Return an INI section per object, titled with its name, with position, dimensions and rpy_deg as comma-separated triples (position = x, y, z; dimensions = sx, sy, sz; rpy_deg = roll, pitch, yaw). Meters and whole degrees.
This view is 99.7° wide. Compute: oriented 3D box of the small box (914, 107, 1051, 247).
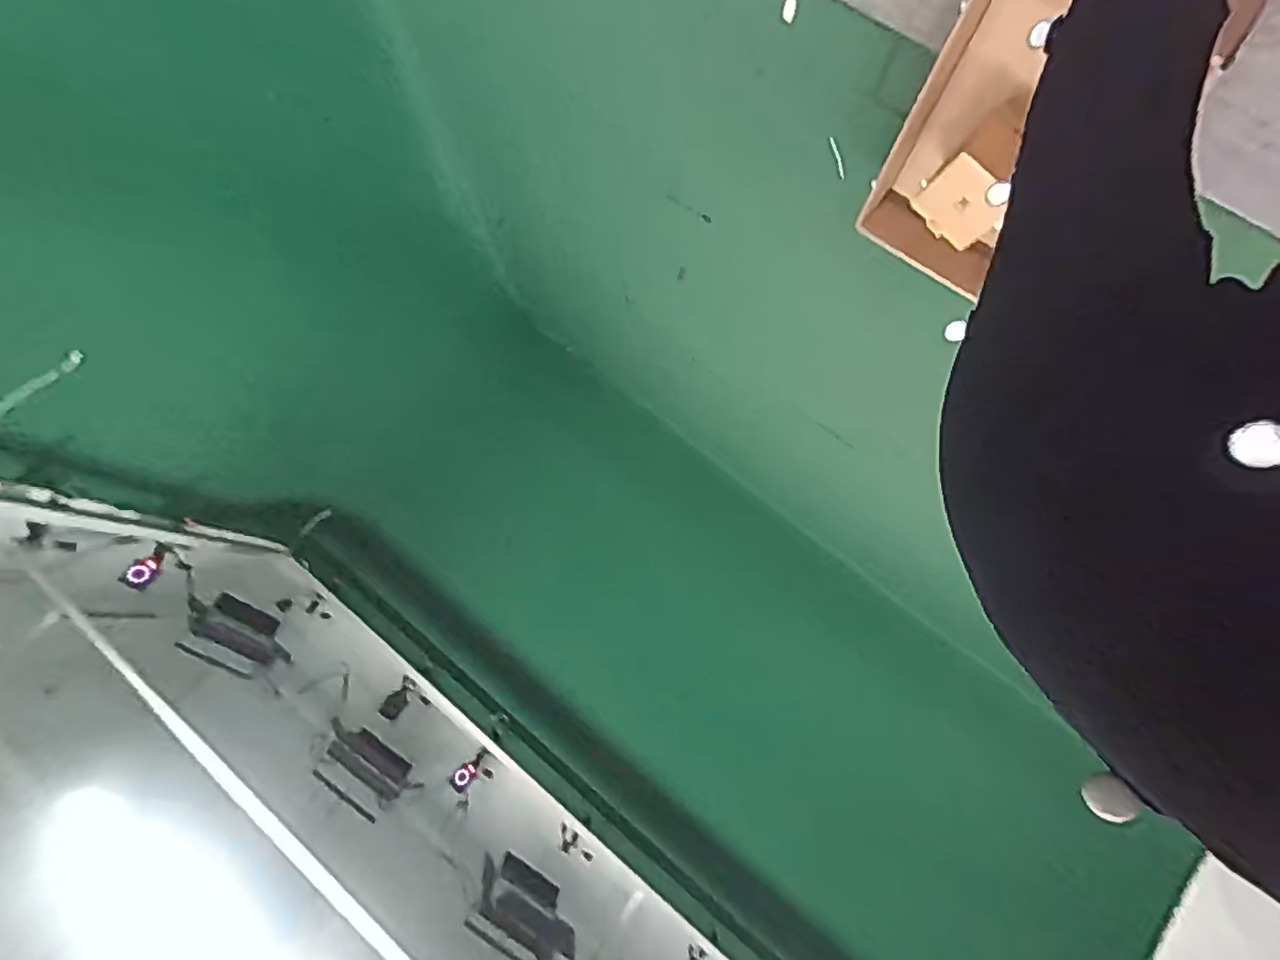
[small box]
position = 0.765, -0.672, 1.203
dimensions = 0.168, 0.176, 0.179
rpy_deg = 41, 167, -2
